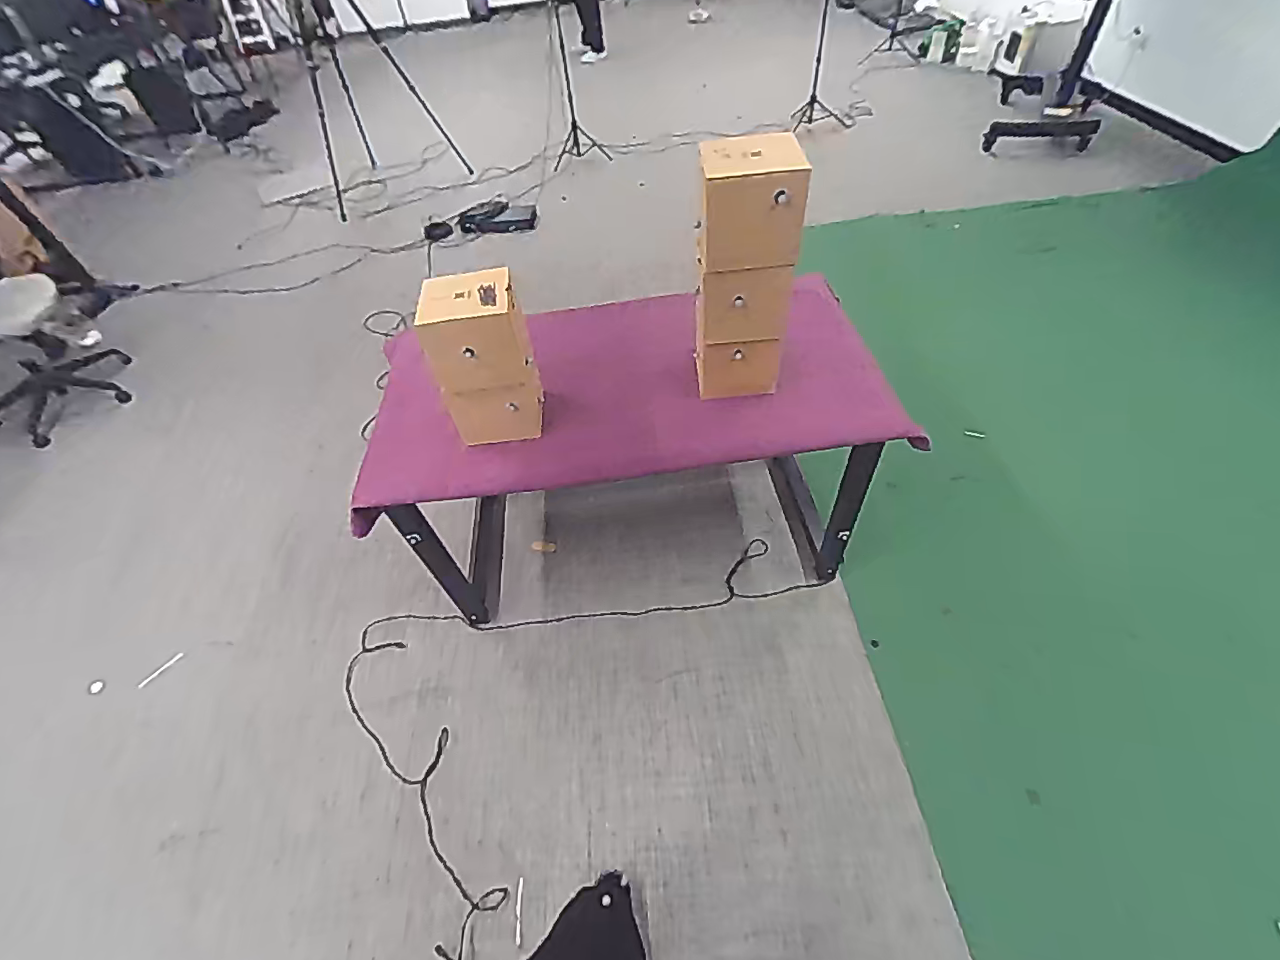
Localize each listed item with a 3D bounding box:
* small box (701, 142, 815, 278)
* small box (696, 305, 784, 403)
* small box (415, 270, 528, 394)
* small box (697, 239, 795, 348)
[{"bbox_3d":[0.207,-0.494,0.998,0.179,0.176,0.168,-3,50,3],"label":"small box"},{"bbox_3d":[0.224,-0.296,1.261,0.179,0.176,0.168,-3,51,3],"label":"small box"},{"bbox_3d":[-0.326,-0.295,1.088,0.179,0.176,0.168,-8,50,-2],"label":"small box"},{"bbox_3d":[0.213,-0.392,1.127,0.179,0.176,0.168,-3,51,4],"label":"small box"}]
